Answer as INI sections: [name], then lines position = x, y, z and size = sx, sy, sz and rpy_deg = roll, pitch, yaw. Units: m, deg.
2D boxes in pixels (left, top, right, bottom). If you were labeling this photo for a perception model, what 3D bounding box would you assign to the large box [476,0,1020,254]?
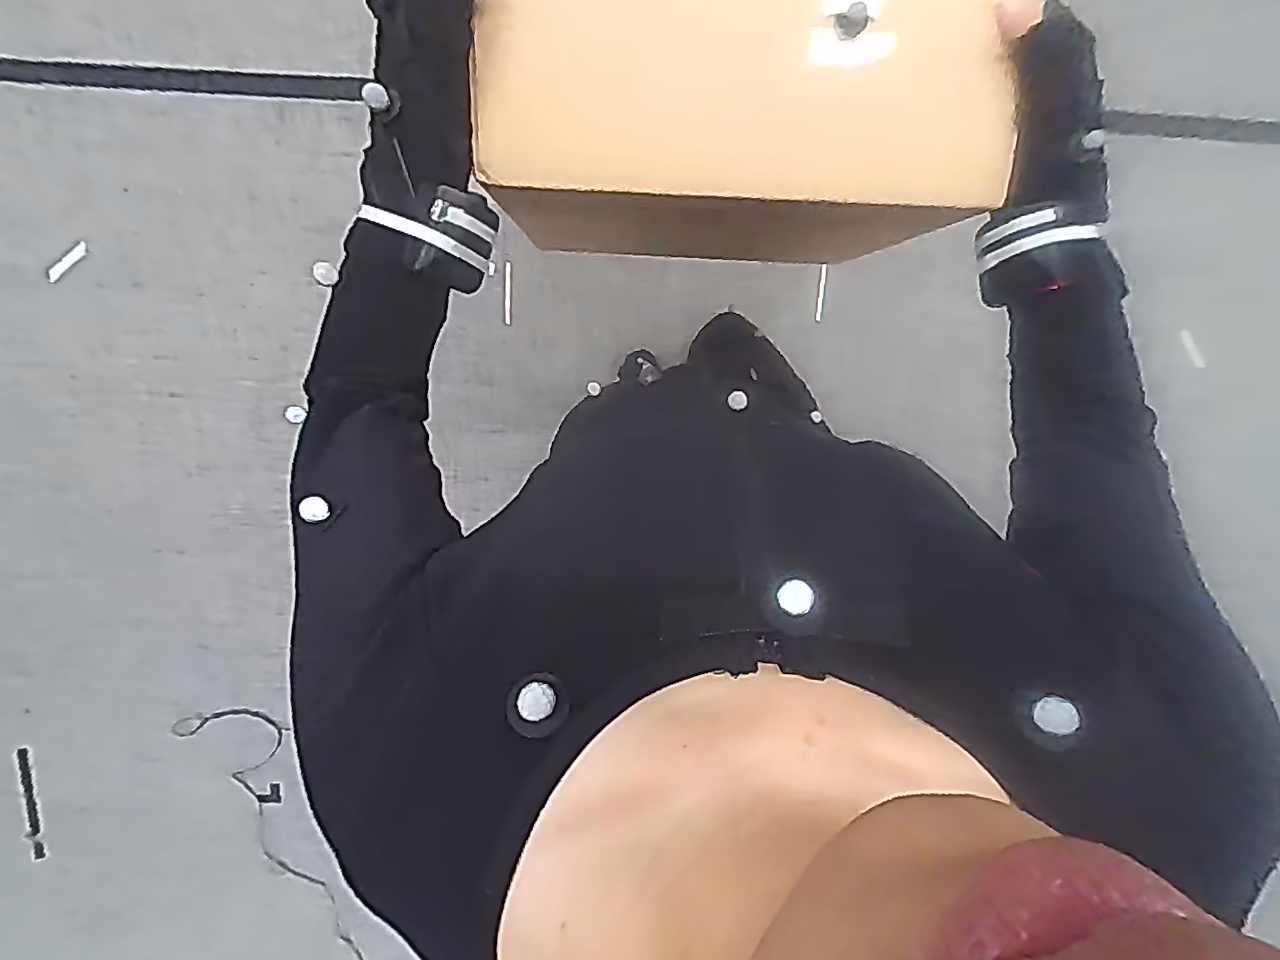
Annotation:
[large box]
position = 0.073, -0.413, 0.526
size = 0.408, 0.320, 0.320
rpy_deg = 1, 104, -3
